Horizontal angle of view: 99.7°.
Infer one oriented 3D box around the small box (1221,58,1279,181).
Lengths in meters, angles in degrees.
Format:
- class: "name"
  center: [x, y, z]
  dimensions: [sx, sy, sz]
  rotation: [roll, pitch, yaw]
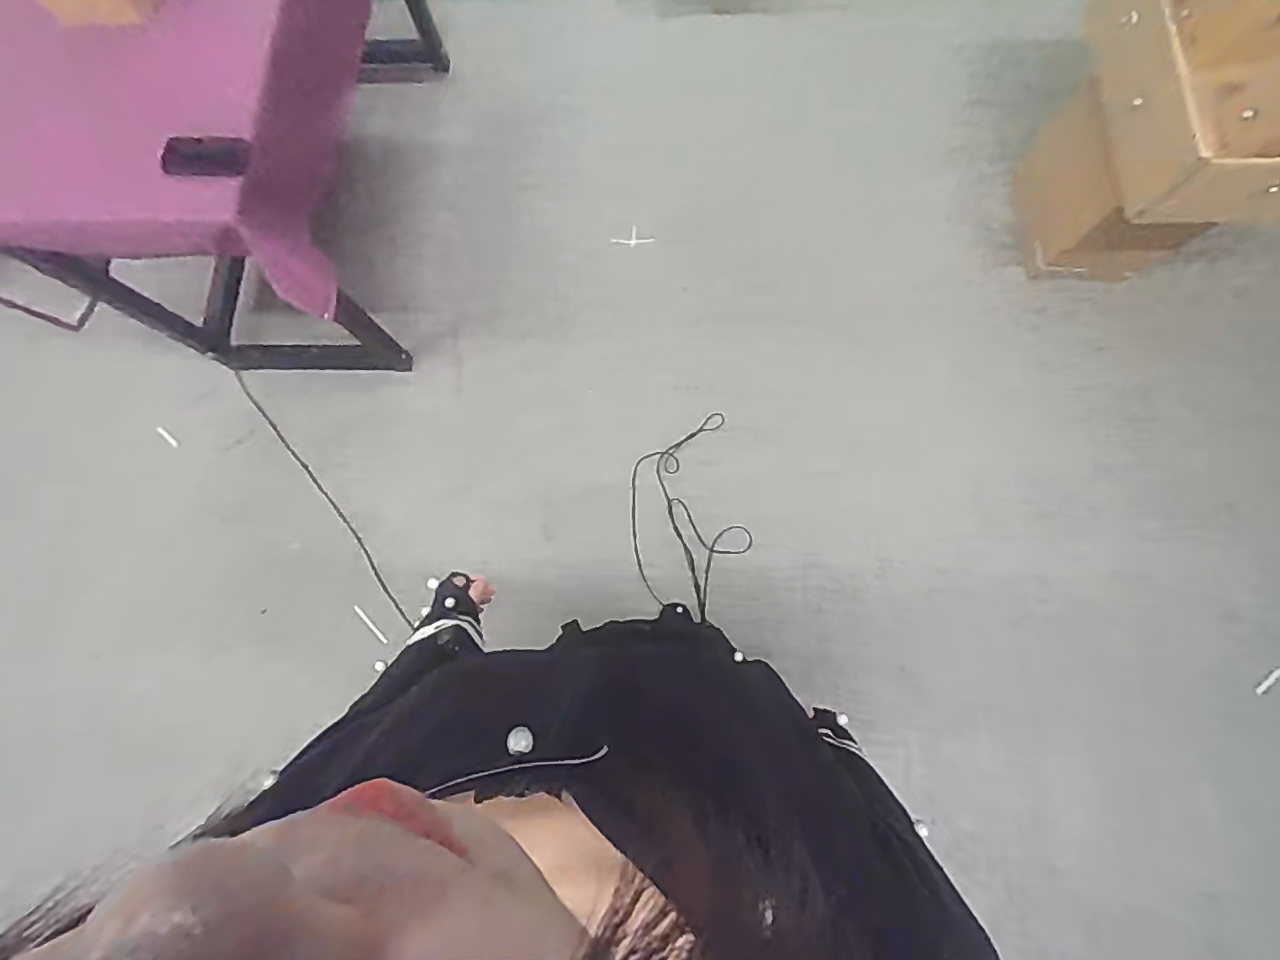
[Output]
- class: "small box"
  center: [1.359, -0.745, 1.111]
  dimensions: [0.179, 0.176, 0.168]
  rotation: [7, 79, 5]
